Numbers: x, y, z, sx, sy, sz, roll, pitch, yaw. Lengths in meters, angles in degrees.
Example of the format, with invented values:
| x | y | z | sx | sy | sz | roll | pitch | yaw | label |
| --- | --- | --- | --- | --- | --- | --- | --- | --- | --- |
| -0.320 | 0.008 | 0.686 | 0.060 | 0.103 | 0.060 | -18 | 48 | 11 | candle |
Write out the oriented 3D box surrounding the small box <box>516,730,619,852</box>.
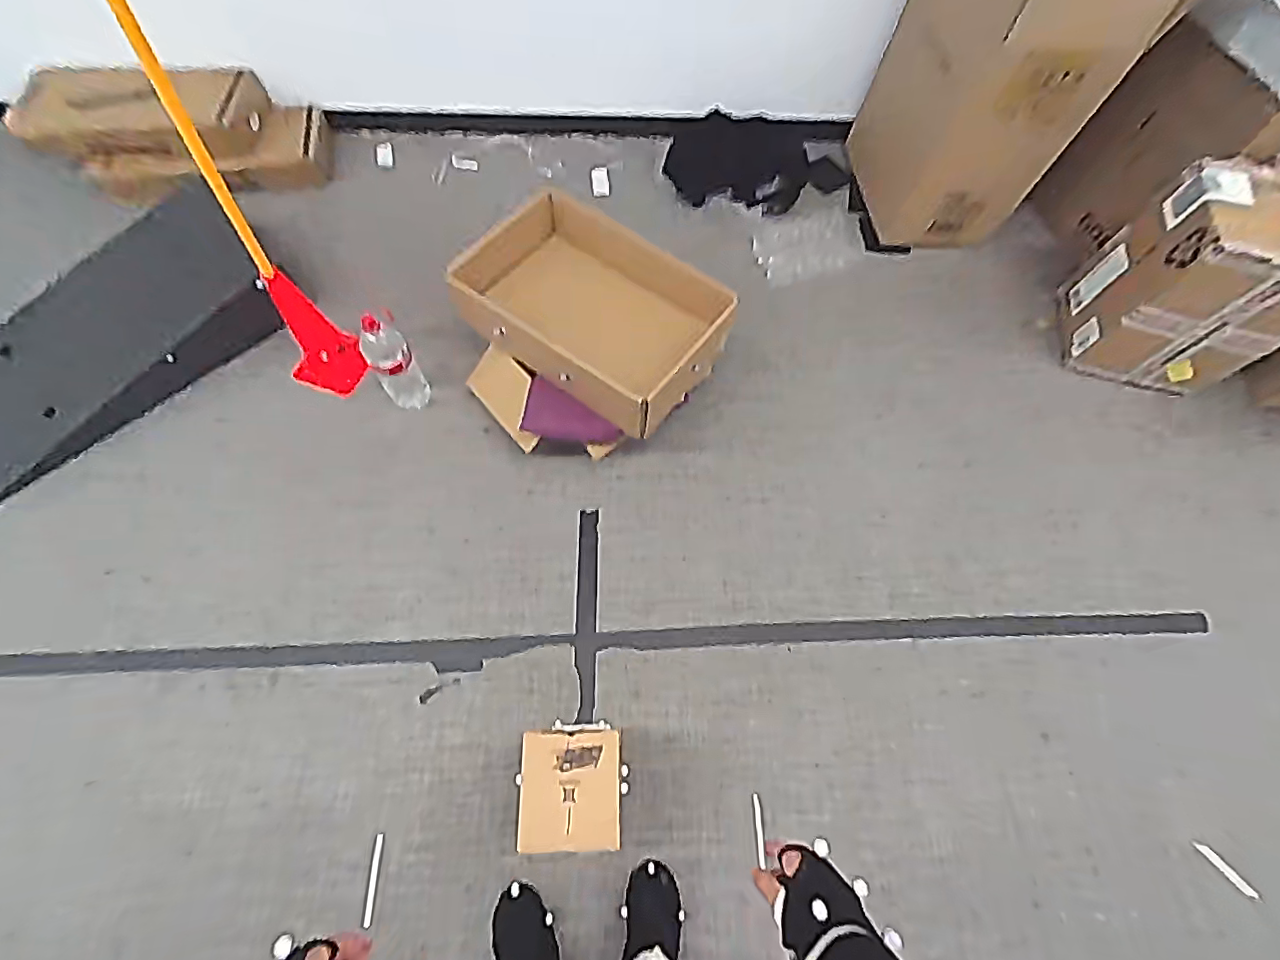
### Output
| x | y | z | sx | sy | sz | roll | pitch | yaw | label |
| --- | --- | --- | --- | --- | --- | --- | --- | --- | --- |
| -0.122 | 0.545 | 0.968 | 0.168 | 0.176 | 0.179 | 0 | 66 | -3 | small box |
